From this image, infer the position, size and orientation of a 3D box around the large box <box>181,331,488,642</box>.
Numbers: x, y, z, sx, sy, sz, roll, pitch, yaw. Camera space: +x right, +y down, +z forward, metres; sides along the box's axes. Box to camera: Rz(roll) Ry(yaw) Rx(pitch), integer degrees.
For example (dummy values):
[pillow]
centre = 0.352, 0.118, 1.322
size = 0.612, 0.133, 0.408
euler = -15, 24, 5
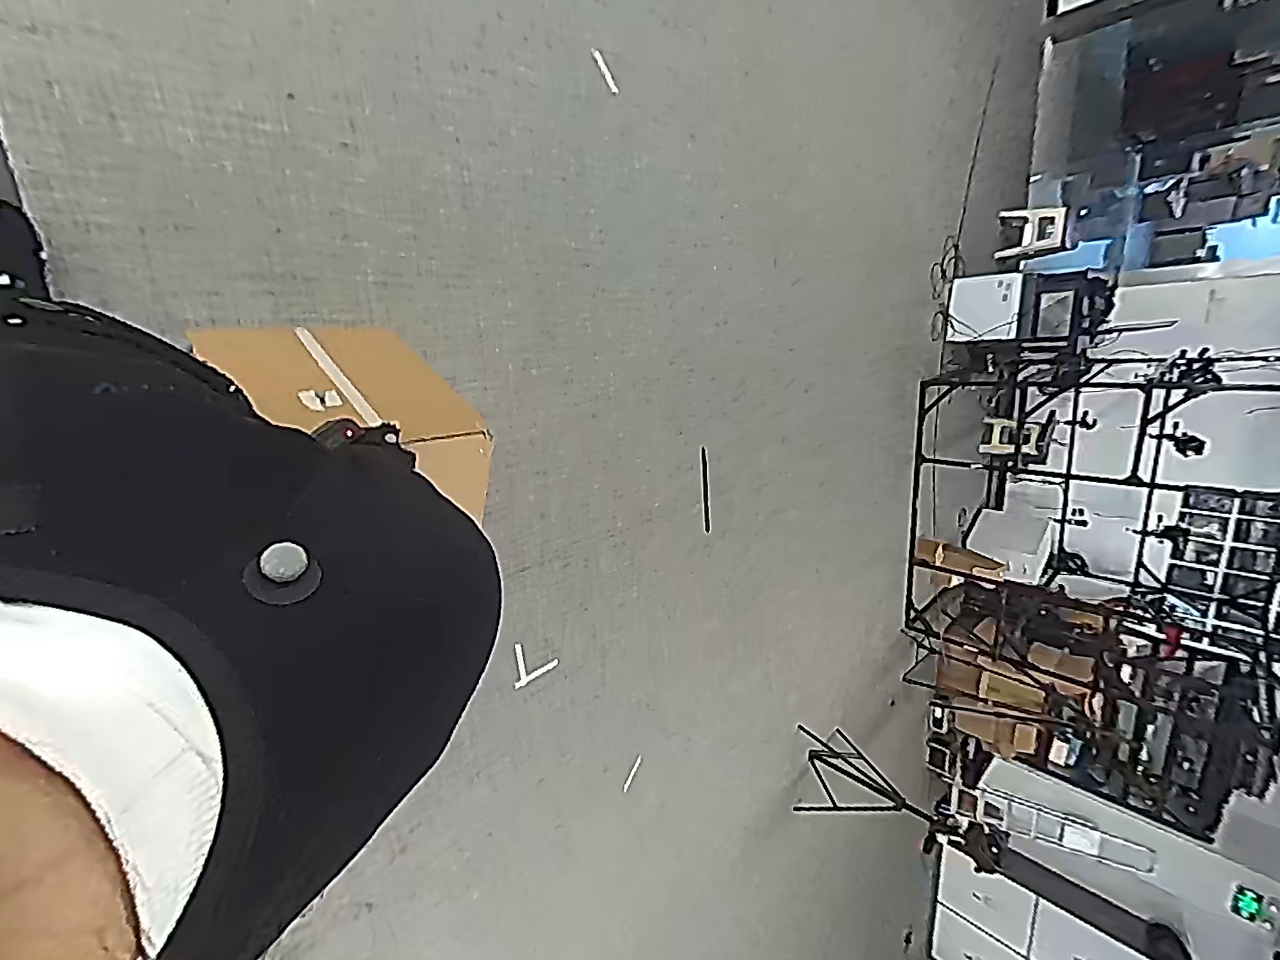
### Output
[large box]
centre = -0.506, -0.020, 0.898
size = 0.320, 0.408, 0.320
euler = -15, 134, -41
